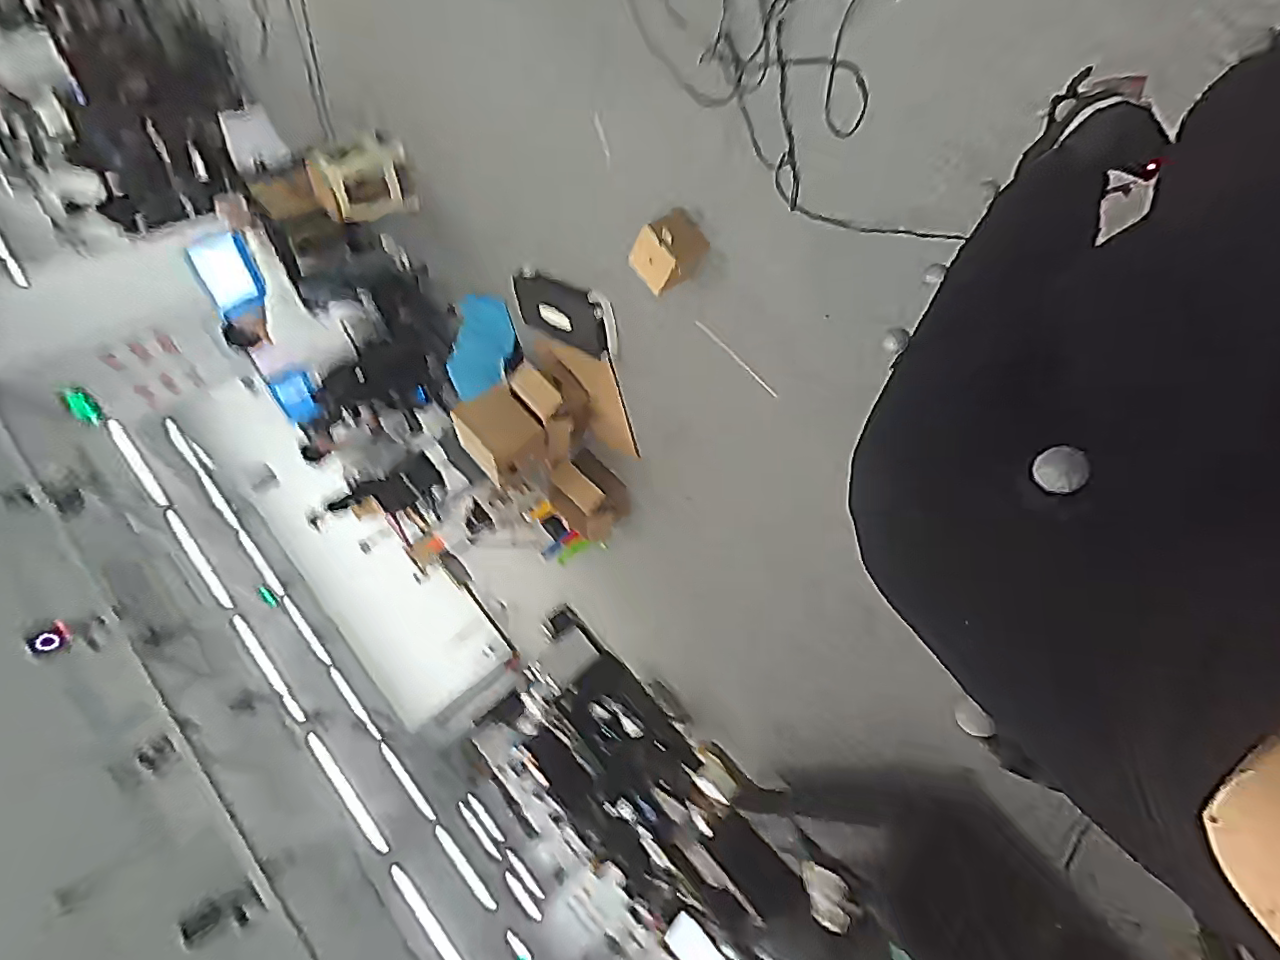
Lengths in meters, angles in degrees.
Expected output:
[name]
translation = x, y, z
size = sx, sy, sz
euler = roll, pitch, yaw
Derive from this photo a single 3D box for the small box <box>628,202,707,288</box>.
[small box]
translation = 0.092, -0.779, 1.793
size = 0.168, 0.176, 0.179
euler = 53, 152, 3
